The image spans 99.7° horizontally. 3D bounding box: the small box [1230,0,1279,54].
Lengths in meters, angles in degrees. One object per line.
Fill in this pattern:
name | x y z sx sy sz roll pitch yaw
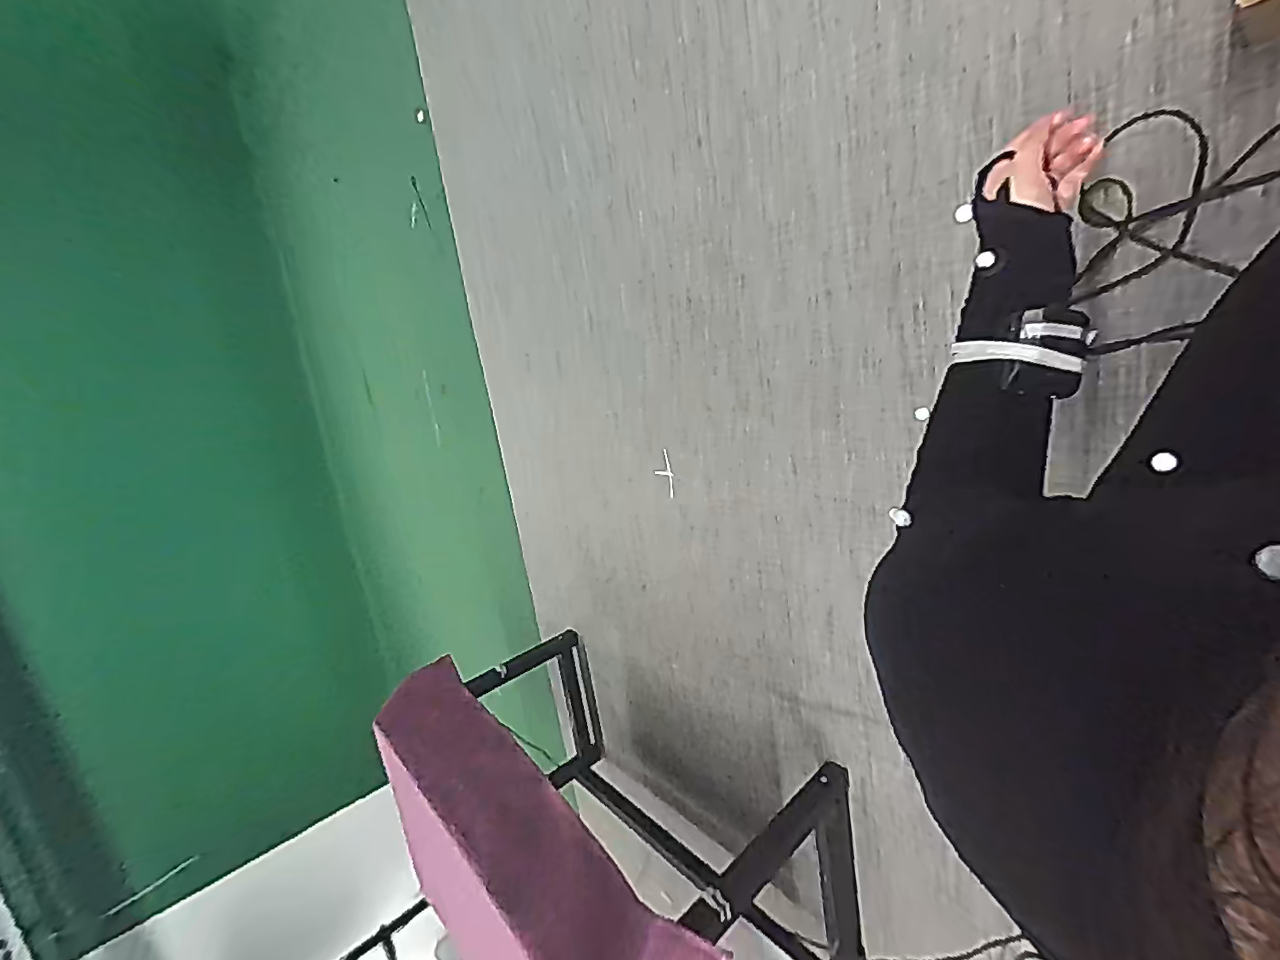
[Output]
small box | 0.636 -0.512 0.458 0.168 0.176 0.179 9 112 49
